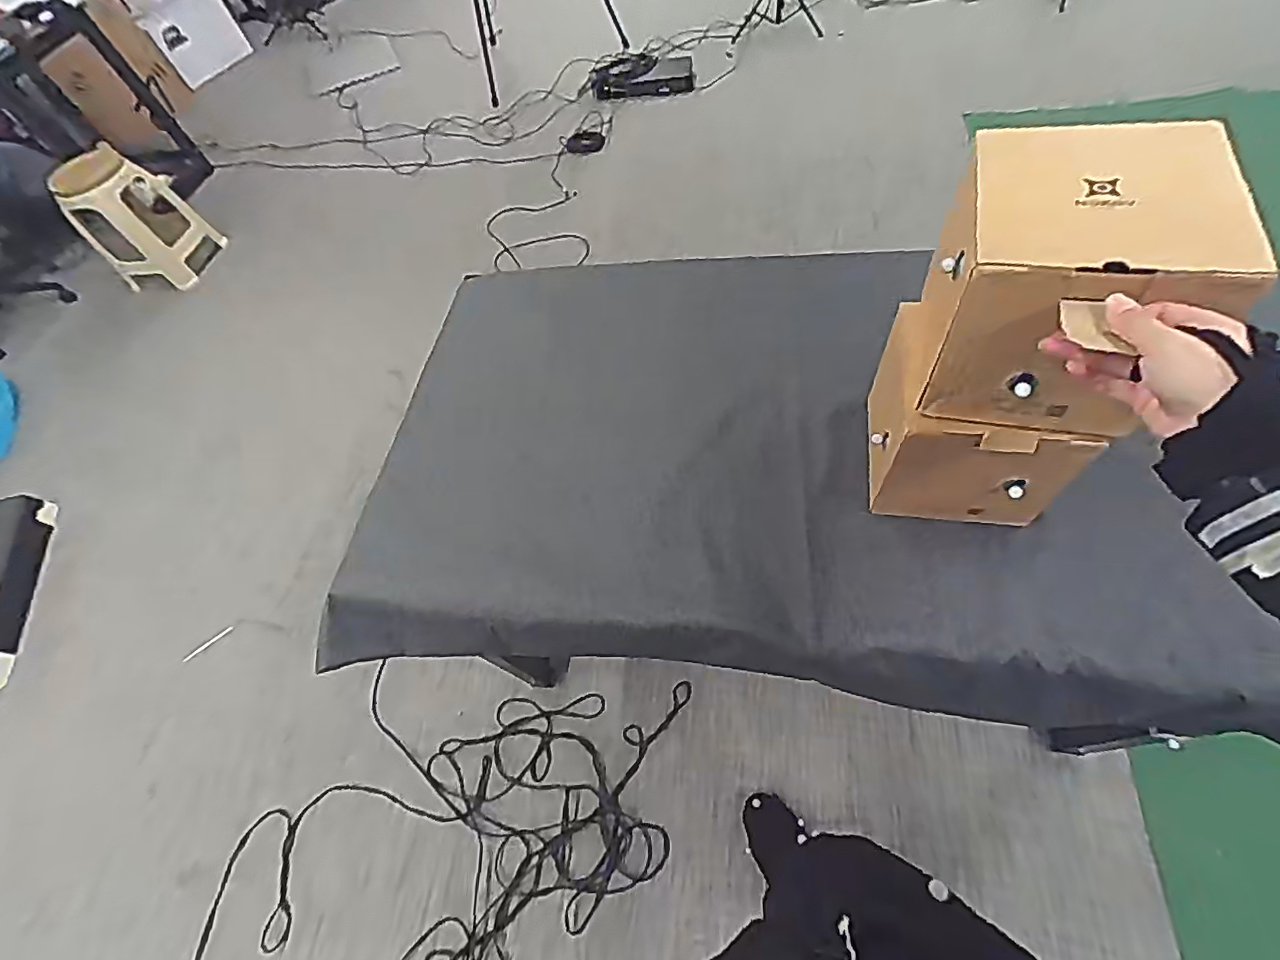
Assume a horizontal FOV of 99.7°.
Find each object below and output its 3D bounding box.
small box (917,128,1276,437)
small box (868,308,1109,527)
[{"bbox_3d":[0.344,-0.161,0.455,0.168,0.176,0.179,8,61,17],"label":"small box"},{"bbox_3d":[0.354,-0.064,0.591,0.168,0.176,0.179,5,59,12],"label":"small box"}]
